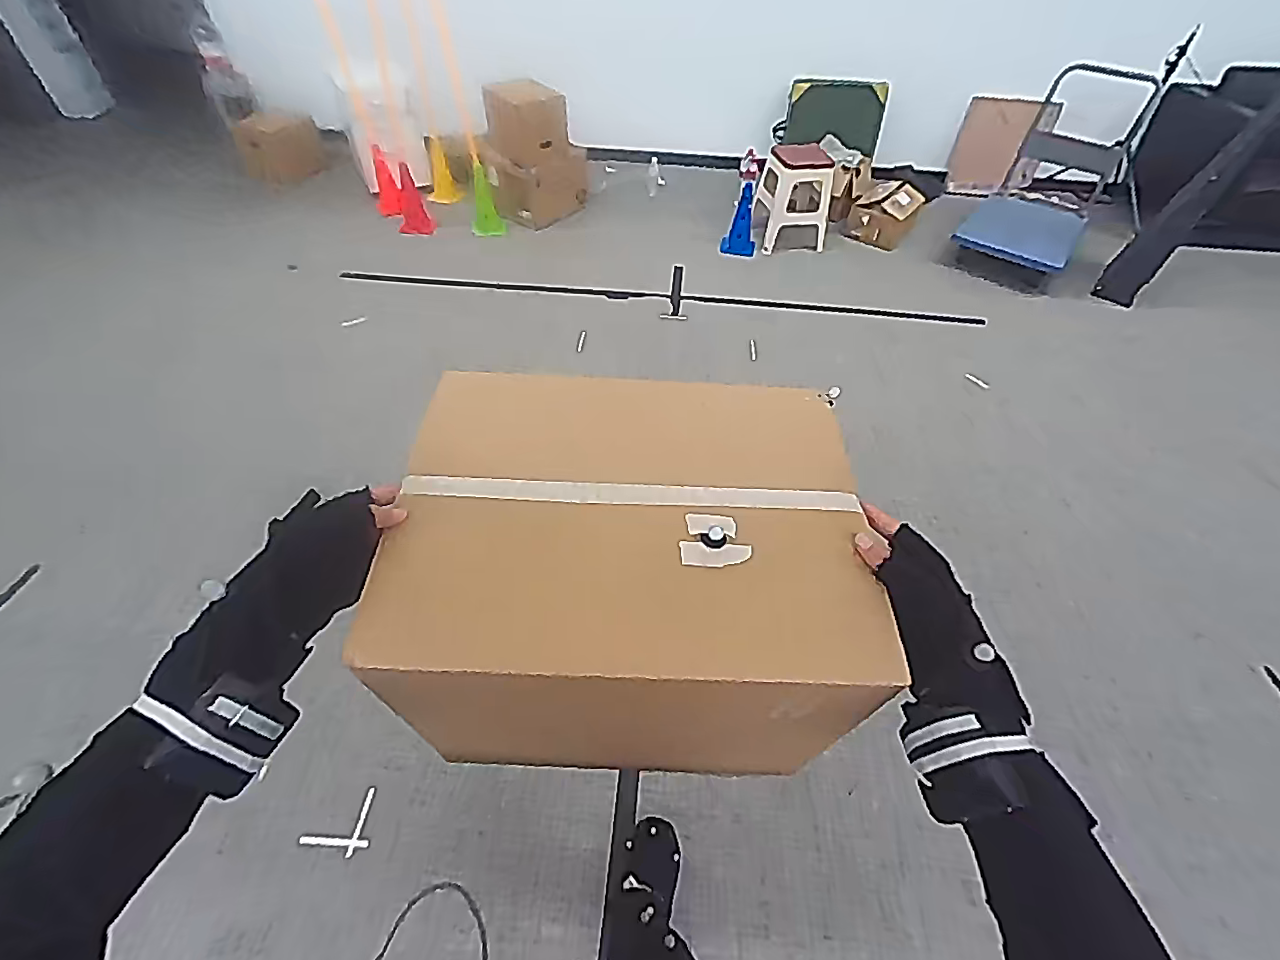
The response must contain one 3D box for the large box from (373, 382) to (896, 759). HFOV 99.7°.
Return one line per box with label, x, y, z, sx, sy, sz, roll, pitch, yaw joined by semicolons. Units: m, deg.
large box;-0.010;0.112;0.610;0.408;0.320;0.320;3;52;-2
